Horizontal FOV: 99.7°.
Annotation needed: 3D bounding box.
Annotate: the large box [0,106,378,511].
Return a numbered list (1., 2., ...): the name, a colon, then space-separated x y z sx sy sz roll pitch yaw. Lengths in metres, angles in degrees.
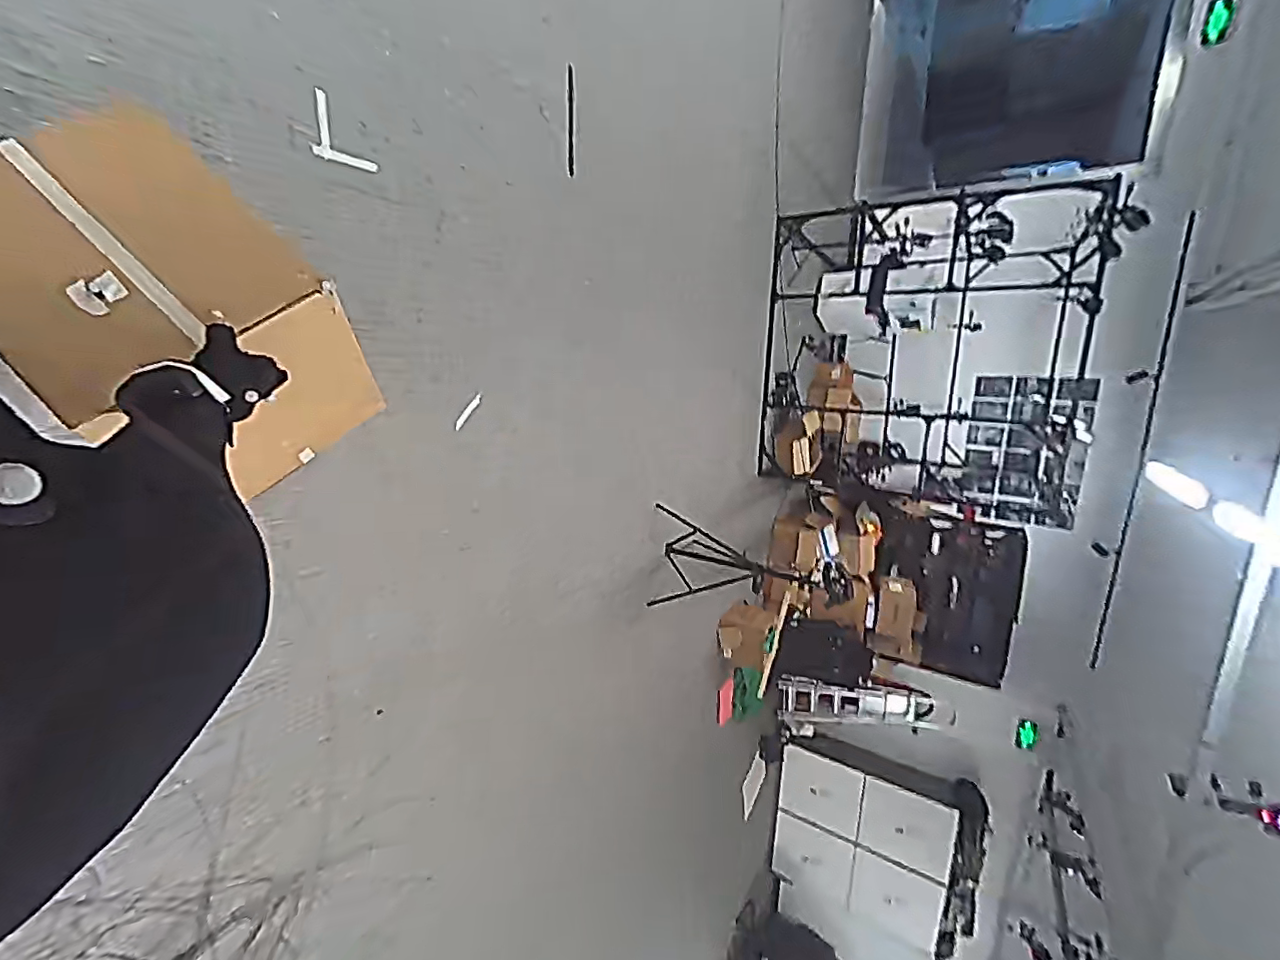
1. large box: -0.674 -0.228 0.789 0.320 0.408 0.320 -46 174 -23
